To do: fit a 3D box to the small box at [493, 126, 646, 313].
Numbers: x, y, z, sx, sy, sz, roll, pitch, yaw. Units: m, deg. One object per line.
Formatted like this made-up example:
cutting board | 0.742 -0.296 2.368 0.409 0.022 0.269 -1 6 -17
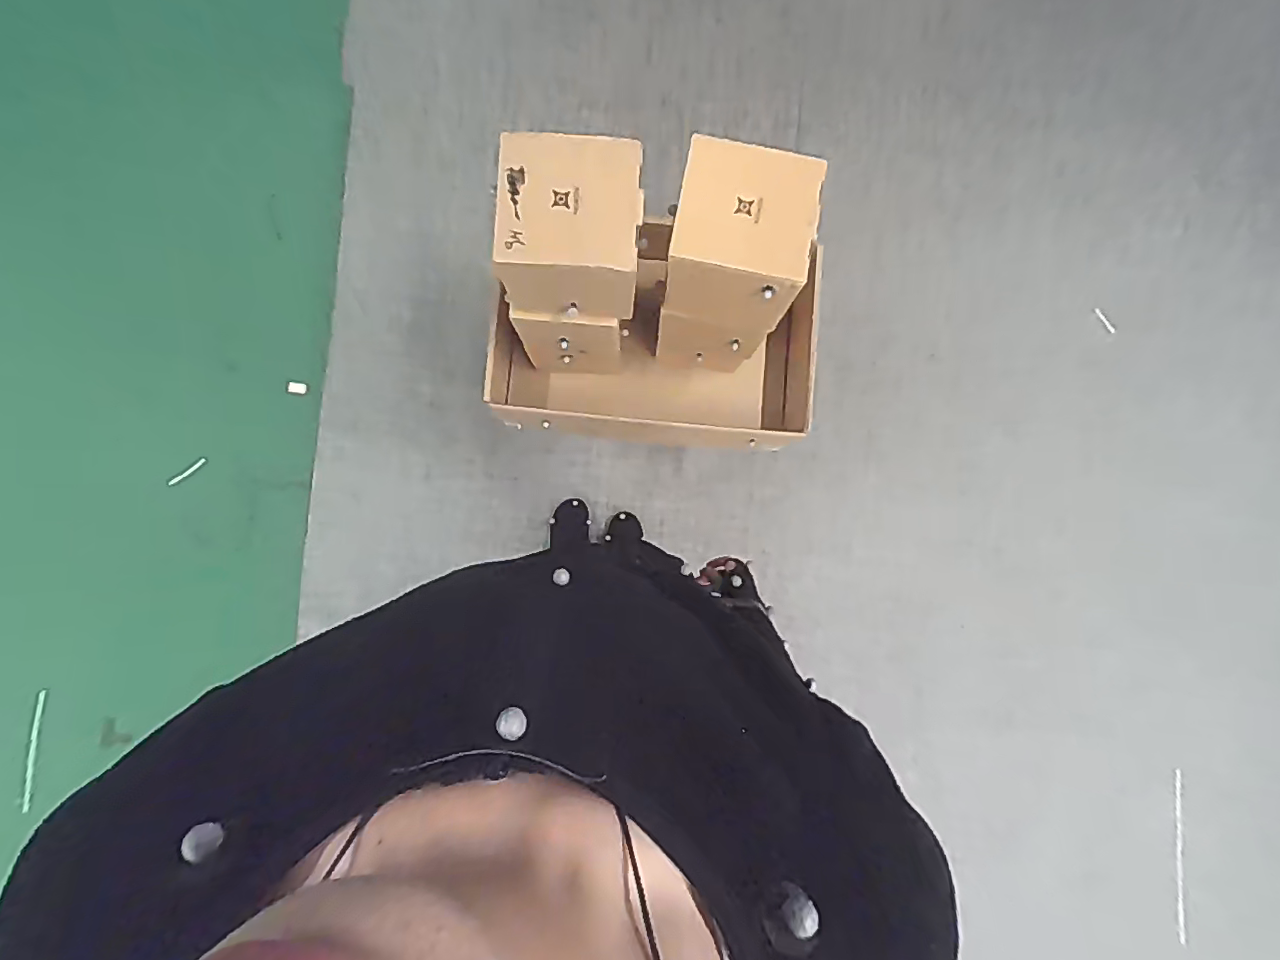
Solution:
small box | -0.089 -0.336 0.732 0.179 0.176 0.168 3 87 -3
